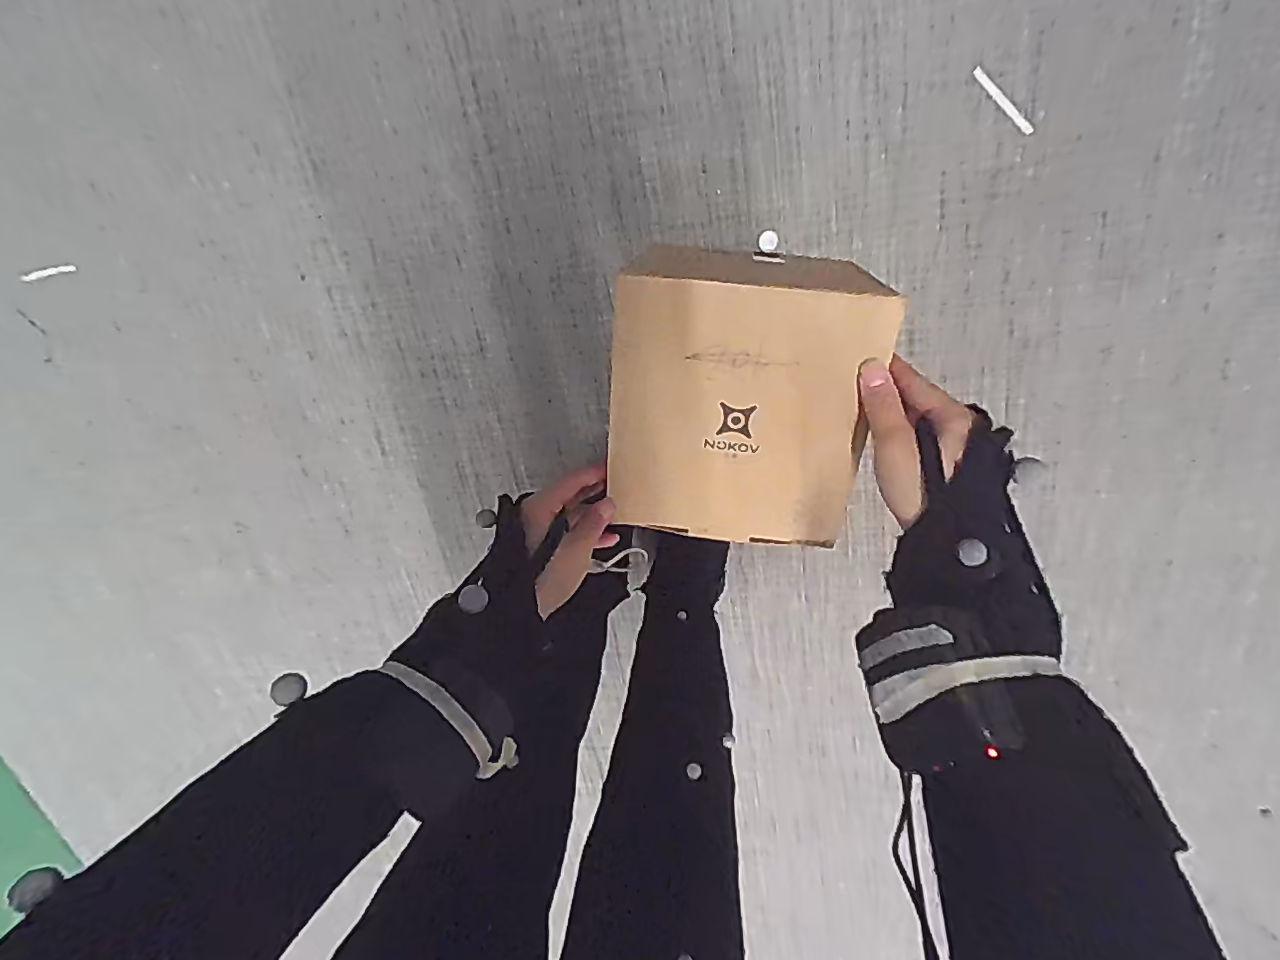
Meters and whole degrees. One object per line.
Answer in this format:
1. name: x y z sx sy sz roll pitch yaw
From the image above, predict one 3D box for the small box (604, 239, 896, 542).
1. small box: 0.068 -0.078 0.416 0.168 0.176 0.179 5 119 4
